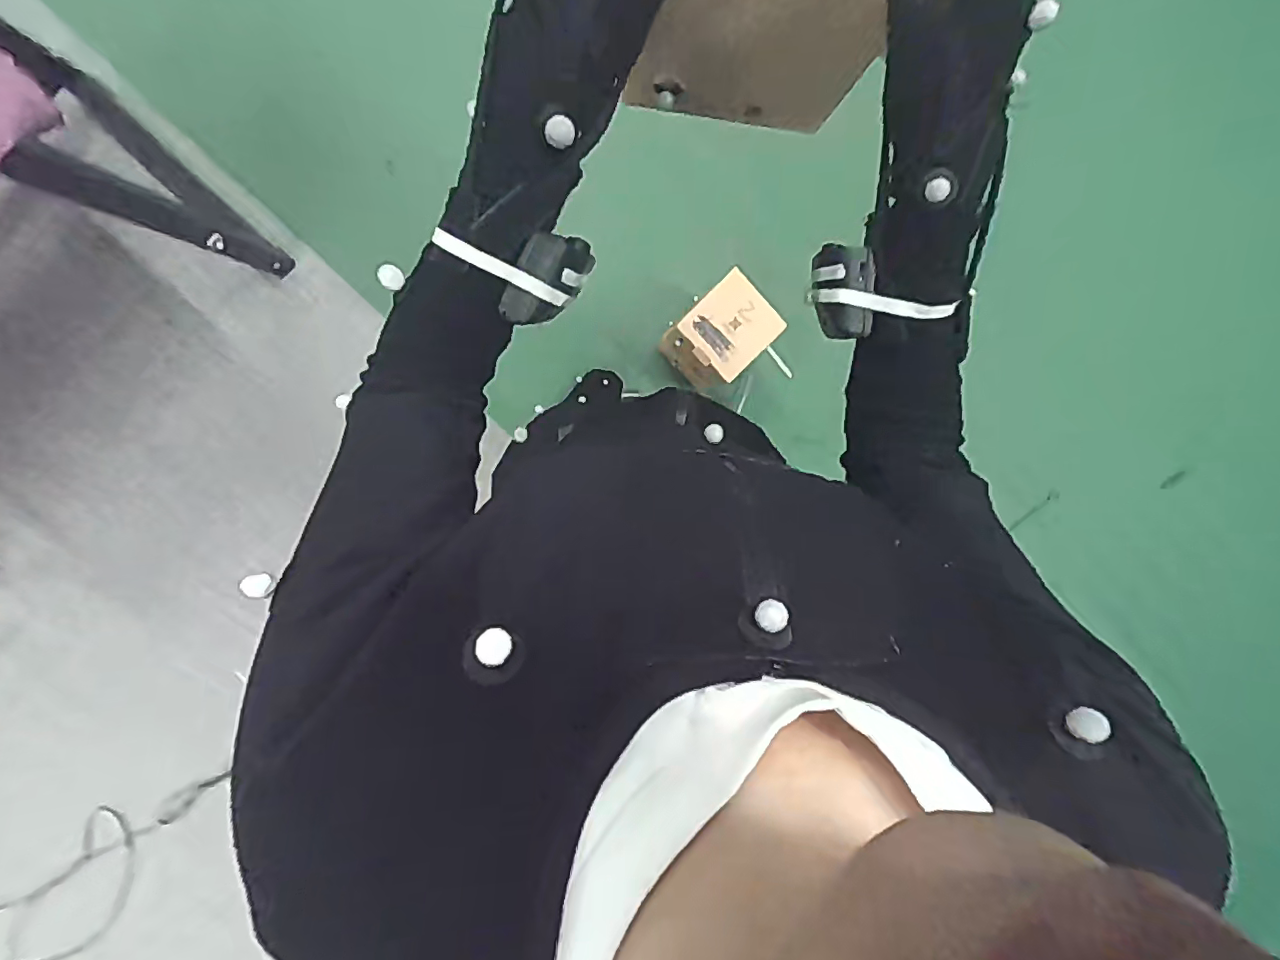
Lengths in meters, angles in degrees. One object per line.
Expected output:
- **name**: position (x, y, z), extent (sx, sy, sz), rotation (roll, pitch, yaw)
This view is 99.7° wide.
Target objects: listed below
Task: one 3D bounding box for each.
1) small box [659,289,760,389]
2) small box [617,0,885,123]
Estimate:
- **small box**: position (0.165, -0.347, 1.362), extent (0.179, 0.176, 0.168), rotation (-44, 99, 3)
- **small box**: position (0.074, -0.377, 0.360), extent (0.168, 0.176, 0.179), rotation (3, 94, -7)
